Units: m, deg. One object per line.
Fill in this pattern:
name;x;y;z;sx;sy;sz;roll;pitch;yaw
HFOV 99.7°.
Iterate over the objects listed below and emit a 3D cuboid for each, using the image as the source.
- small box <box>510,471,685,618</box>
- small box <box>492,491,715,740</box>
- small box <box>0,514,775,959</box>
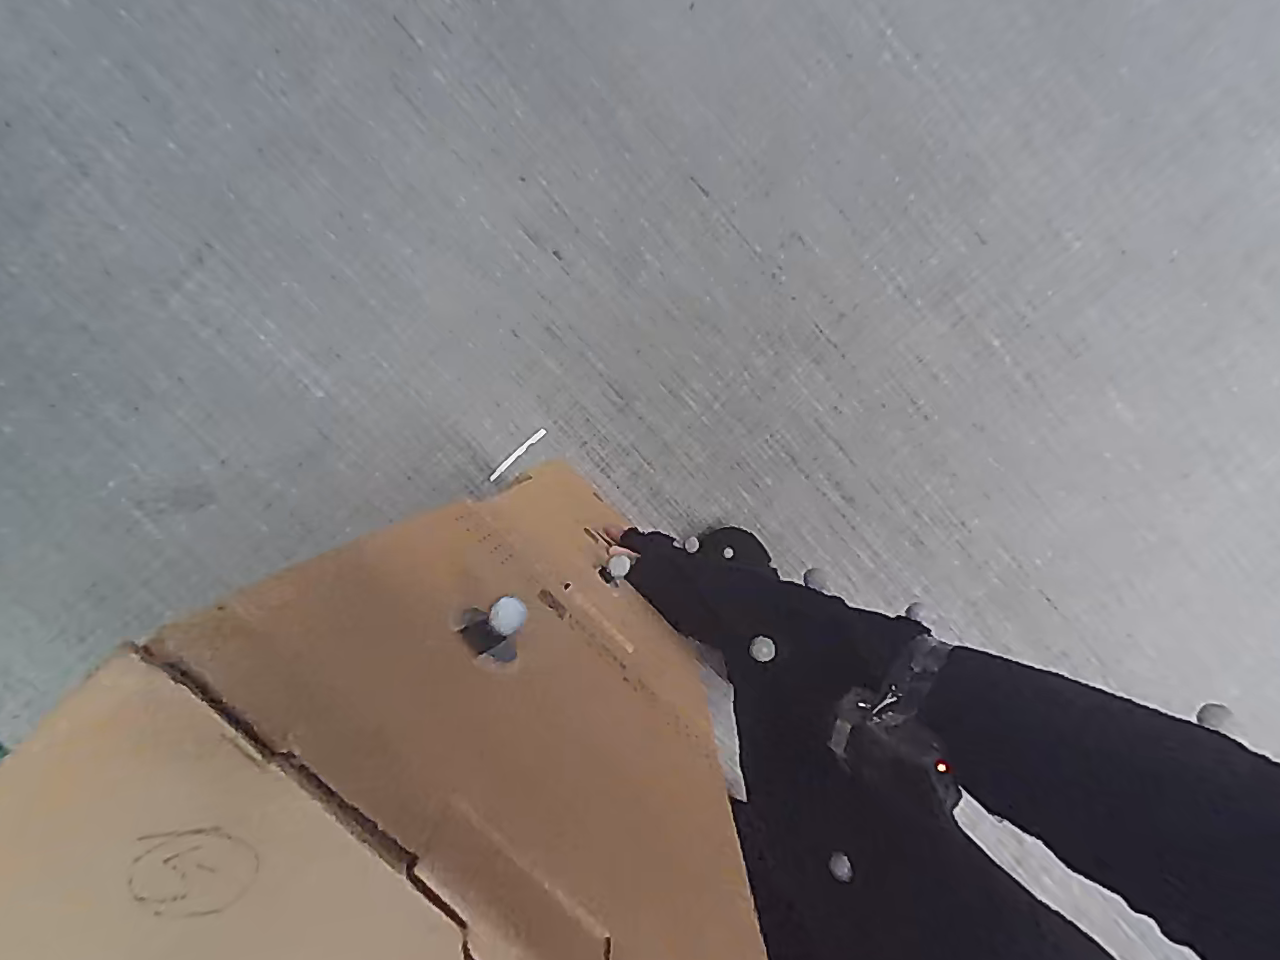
small box;-0.081;0.106;0.521;0.168;0.176;0.179;40;93;-4
small box;-0.078;0.124;0.359;0.179;0.176;0.168;-45;93;3
small box;-0.079;0.133;0.196;0.168;0.176;0.179;44;95;-3
